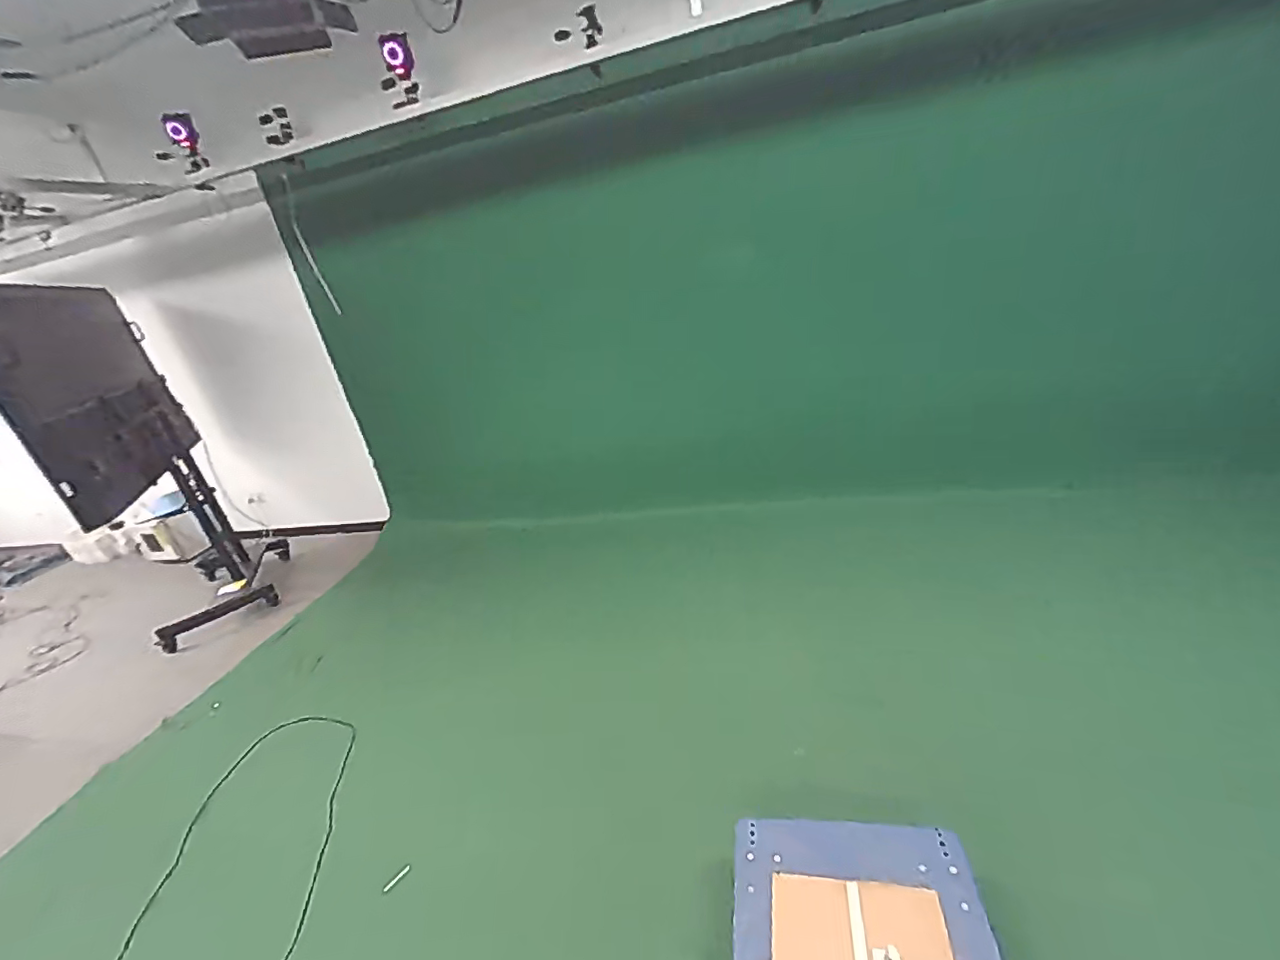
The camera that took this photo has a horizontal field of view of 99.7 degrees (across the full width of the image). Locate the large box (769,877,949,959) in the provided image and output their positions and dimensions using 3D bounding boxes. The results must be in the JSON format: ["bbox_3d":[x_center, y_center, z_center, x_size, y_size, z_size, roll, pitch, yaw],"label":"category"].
[{"bbox_3d":[0.404,1.030,0.963,0.320,0.320,0.408,-4,23,16],"label":"large box"}]
